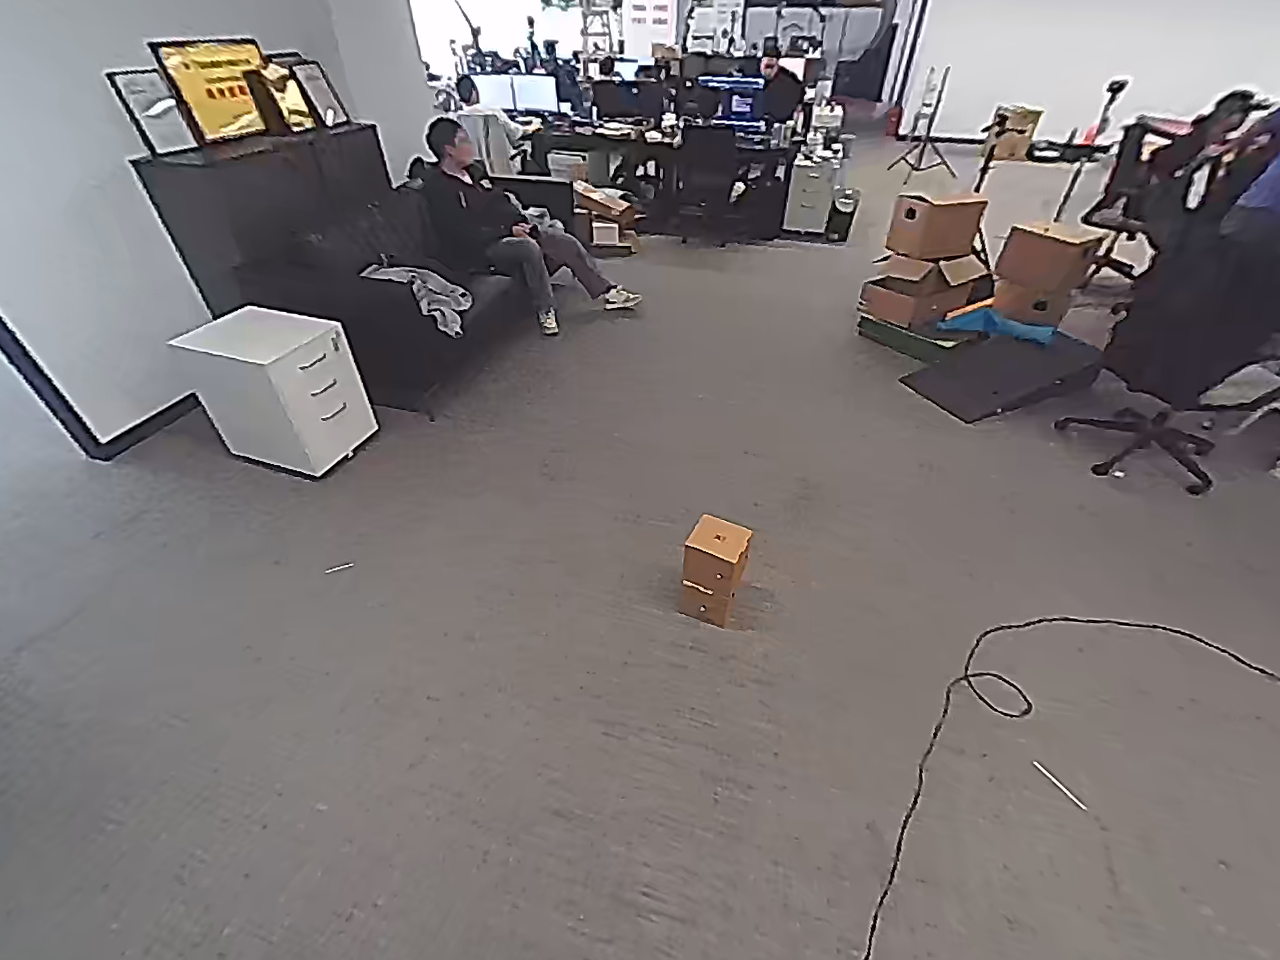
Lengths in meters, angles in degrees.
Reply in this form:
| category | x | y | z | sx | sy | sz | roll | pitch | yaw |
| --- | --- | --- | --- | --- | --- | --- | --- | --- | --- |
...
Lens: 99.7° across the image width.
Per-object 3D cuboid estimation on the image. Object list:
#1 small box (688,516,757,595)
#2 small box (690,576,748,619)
| category | x | y | z | sx | sy | sz | roll | pitch | yaw |
| --- | --- | --- | --- | --- | --- | --- | --- | --- | --- |
| small box | 0.271 | 0.254 | 1.792 | 0.179 | 0.176 | 0.168 | 19 | 41 | 23 |
| small box | 0.270 | 0.370 | 1.896 | 0.179 | 0.176 | 0.168 | -5 | 38 | -3 |
